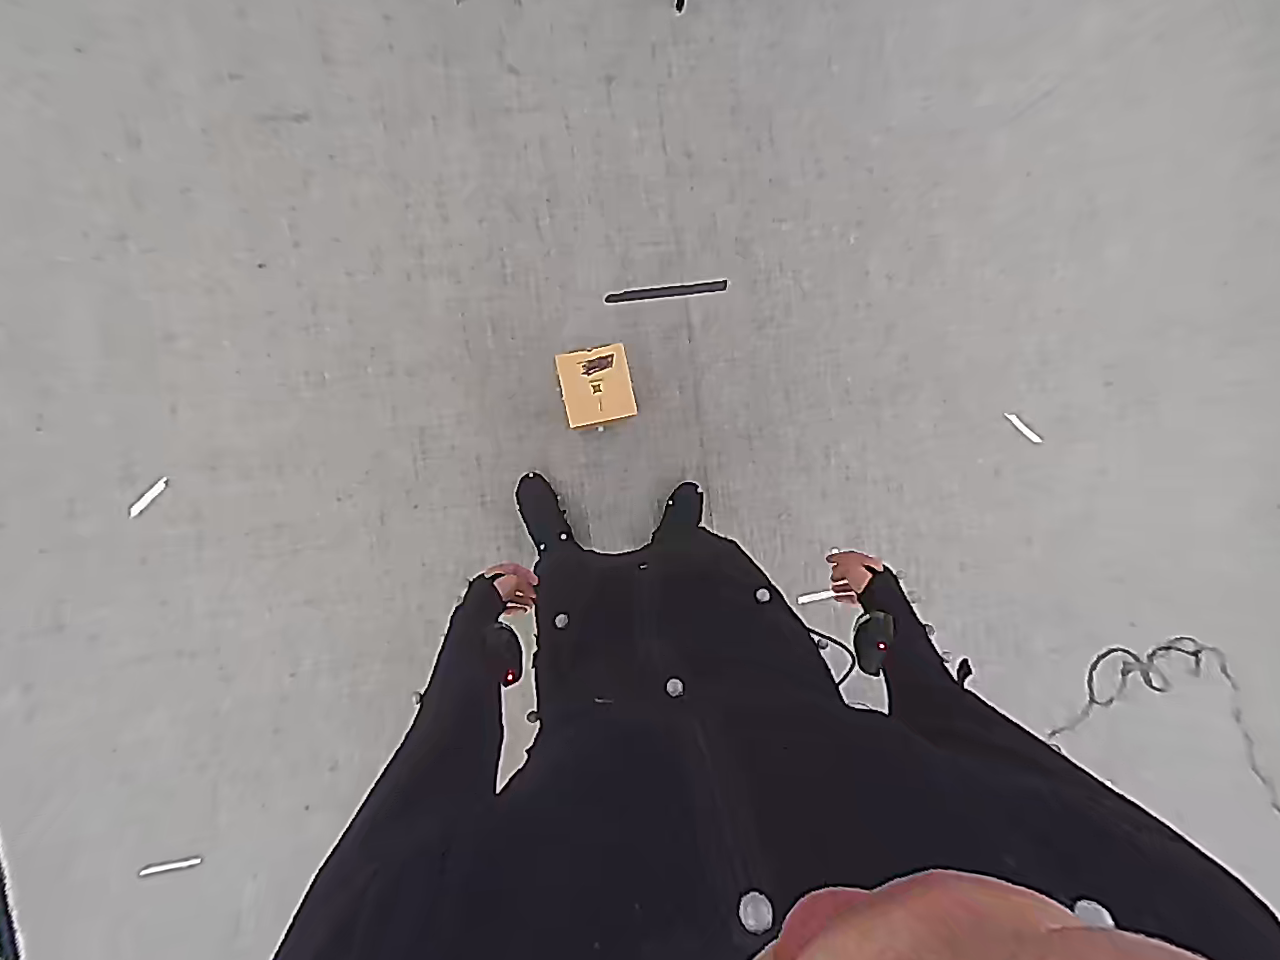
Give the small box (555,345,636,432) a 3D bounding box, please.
[{"bbox_3d":[-0.115,-0.222,1.353,0.168,0.176,0.179,-12,94,-6],"label":"small box"}]
